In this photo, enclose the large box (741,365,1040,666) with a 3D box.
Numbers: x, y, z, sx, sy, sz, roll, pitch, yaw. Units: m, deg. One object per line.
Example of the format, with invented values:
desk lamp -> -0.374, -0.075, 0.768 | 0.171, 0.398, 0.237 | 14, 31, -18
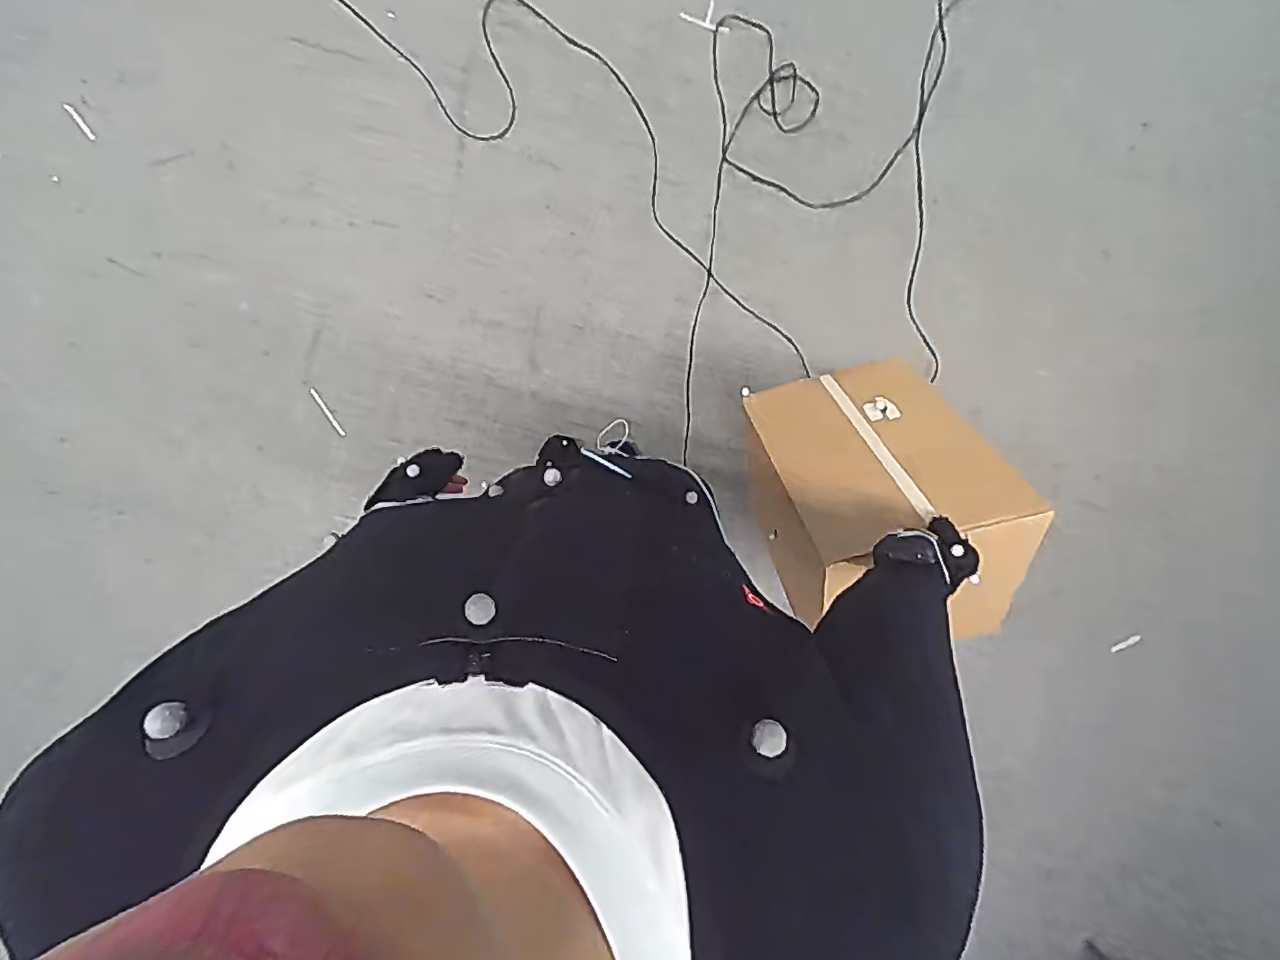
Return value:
large box -> 0.396, 0.054, 0.975 | 0.320, 0.408, 0.320 | -13, 132, 1
